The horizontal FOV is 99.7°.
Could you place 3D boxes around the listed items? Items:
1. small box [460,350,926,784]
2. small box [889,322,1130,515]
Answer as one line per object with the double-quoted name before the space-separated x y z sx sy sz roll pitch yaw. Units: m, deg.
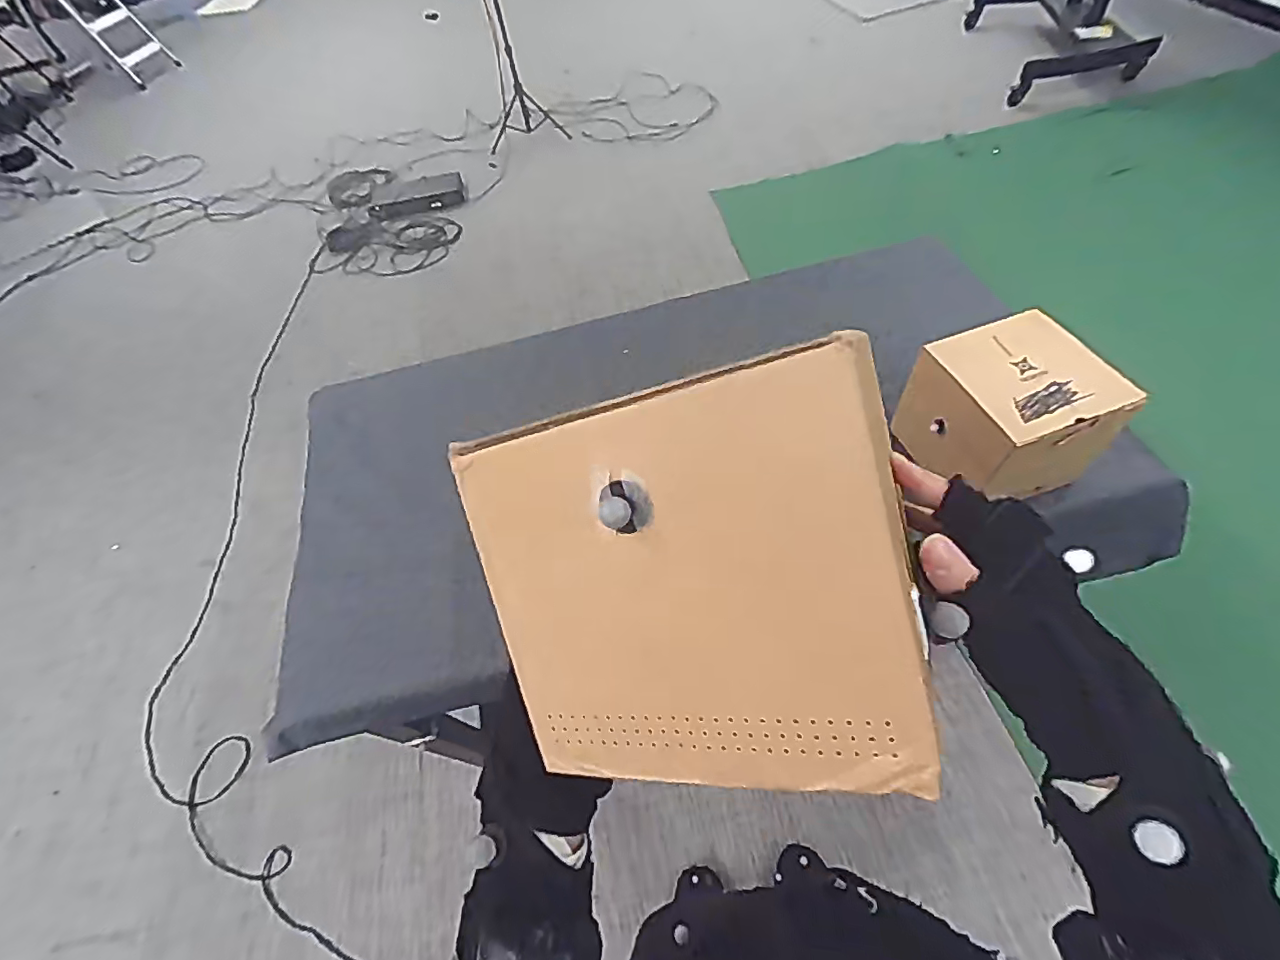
"small box" 0.041 0.034 0.295 0.179 0.176 0.168 -10 9 26
"small box" 0.466 -0.072 0.719 0.168 0.176 0.179 -18 54 -4
